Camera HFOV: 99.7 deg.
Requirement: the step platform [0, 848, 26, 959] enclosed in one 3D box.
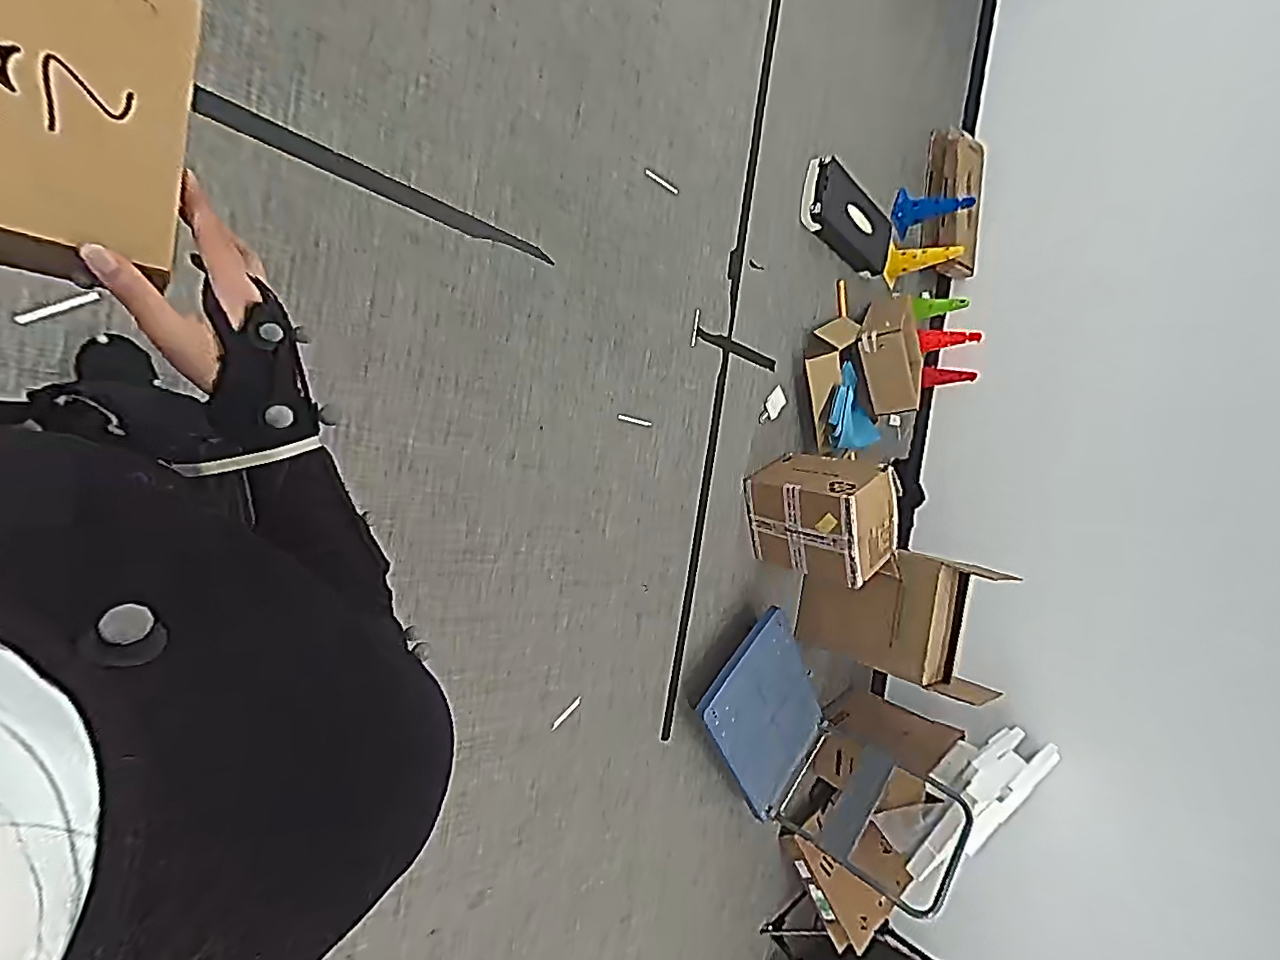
[{"bbox_3d":[-1.315,0.766,0.693,0.684,0.204,0.286,8,91,-44],"label":"step platform"}]
